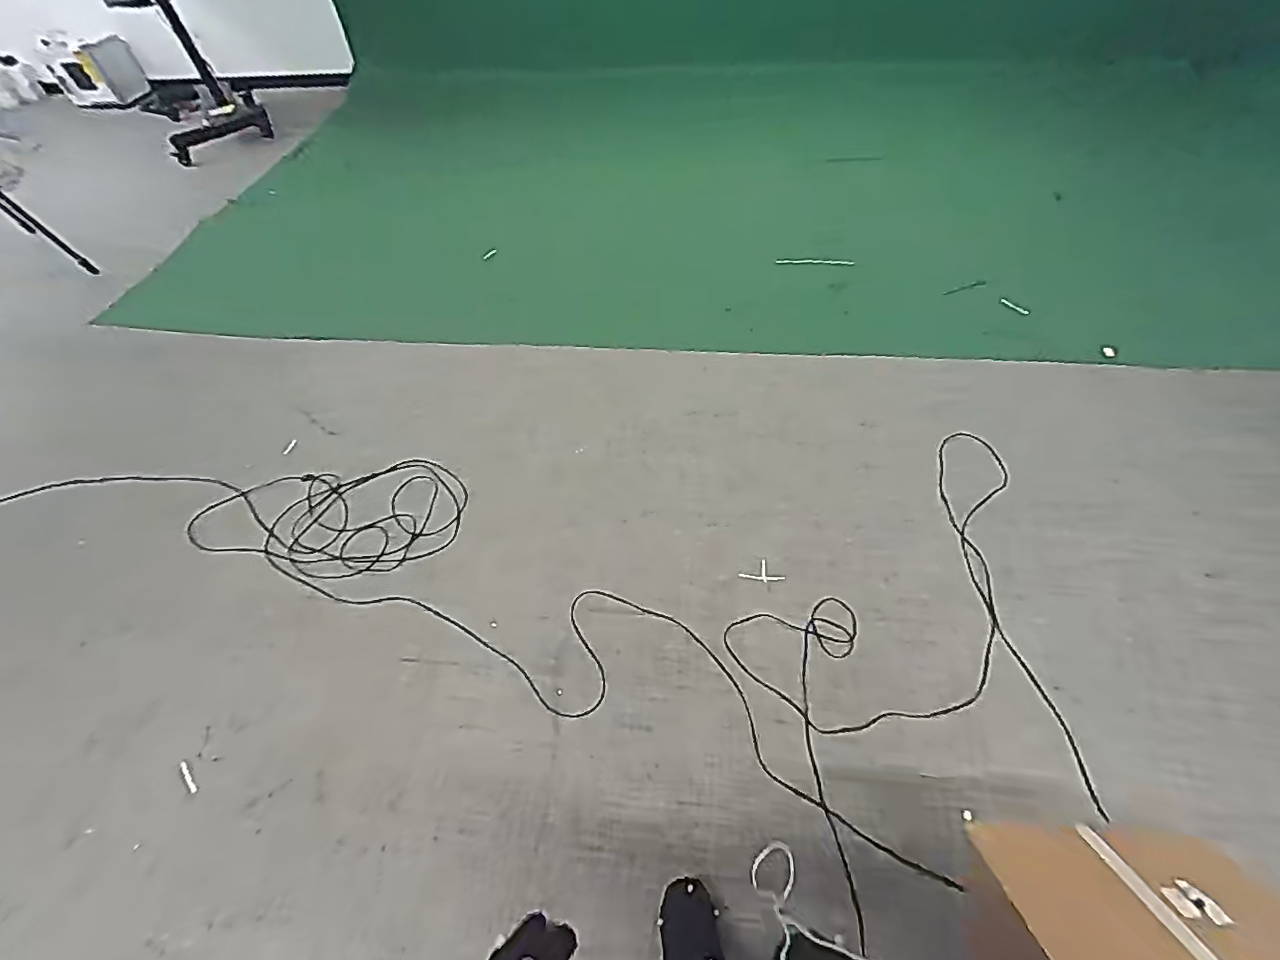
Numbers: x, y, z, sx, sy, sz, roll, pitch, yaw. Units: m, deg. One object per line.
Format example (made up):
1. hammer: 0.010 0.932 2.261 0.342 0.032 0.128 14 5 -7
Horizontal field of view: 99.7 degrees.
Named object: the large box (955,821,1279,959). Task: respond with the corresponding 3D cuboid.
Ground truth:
1. large box: 0.608 0.672 0.607 0.320 0.408 0.320 -2 94 8
